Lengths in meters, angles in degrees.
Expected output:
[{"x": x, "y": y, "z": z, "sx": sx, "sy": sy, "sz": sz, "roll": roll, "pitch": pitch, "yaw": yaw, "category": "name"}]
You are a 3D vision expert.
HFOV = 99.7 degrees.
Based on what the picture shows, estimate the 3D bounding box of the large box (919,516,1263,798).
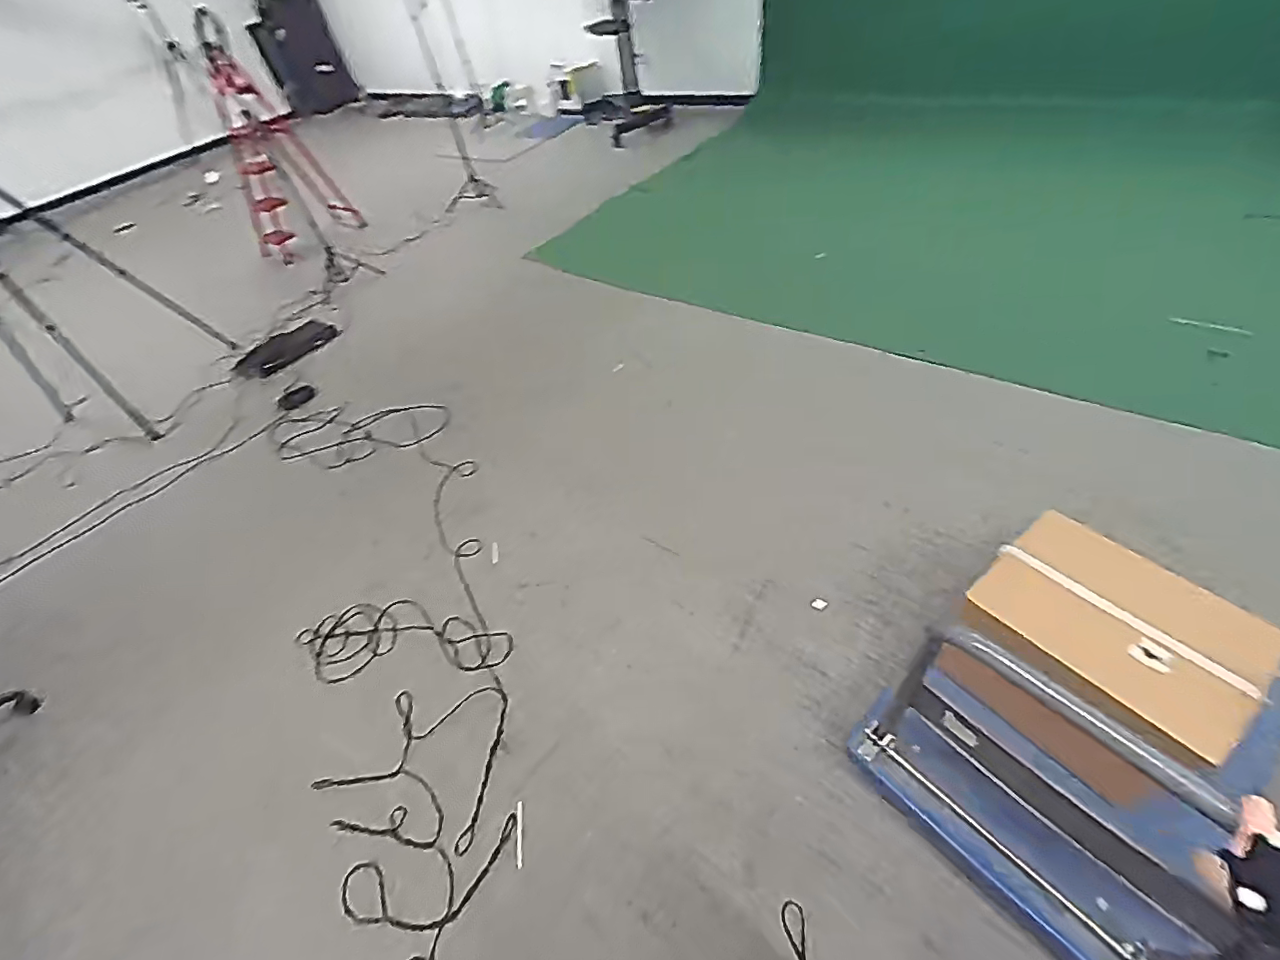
[{"x": 0.883, "y": 0.356, "z": 1.127, "sx": 0.320, "sy": 0.320, "sz": 0.408, "roll": -35, "pitch": 52, "yaw": -19, "category": "large box"}]
